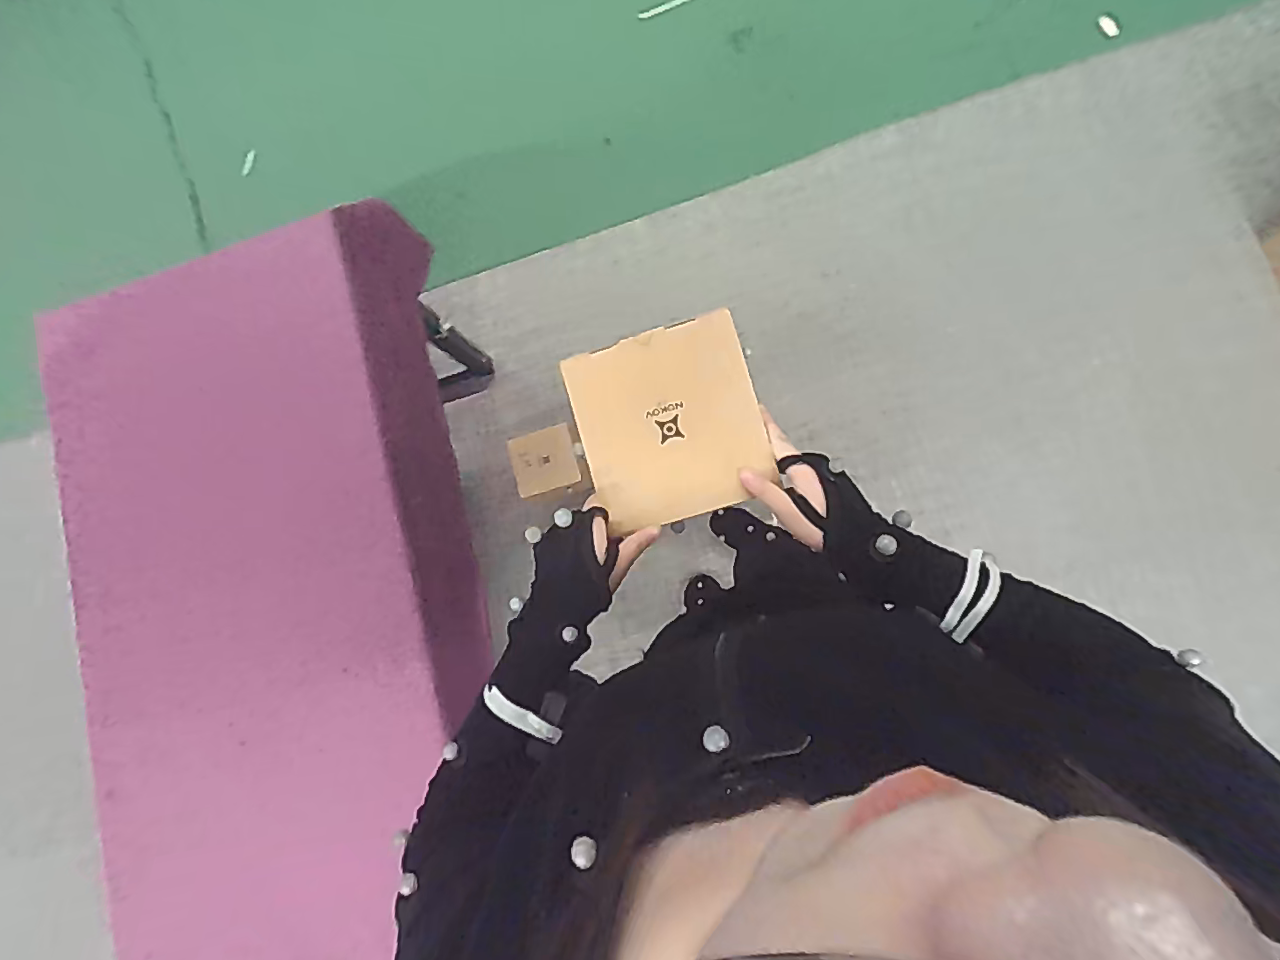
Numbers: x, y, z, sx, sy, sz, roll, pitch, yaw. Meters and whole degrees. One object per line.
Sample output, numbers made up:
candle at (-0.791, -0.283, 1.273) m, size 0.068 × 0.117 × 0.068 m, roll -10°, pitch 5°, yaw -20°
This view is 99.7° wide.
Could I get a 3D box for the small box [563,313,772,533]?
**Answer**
small box at (0.035, -0.052, 0.585) m, size 0.168 × 0.176 × 0.179 m, roll -15°, pitch 87°, yaw 7°
